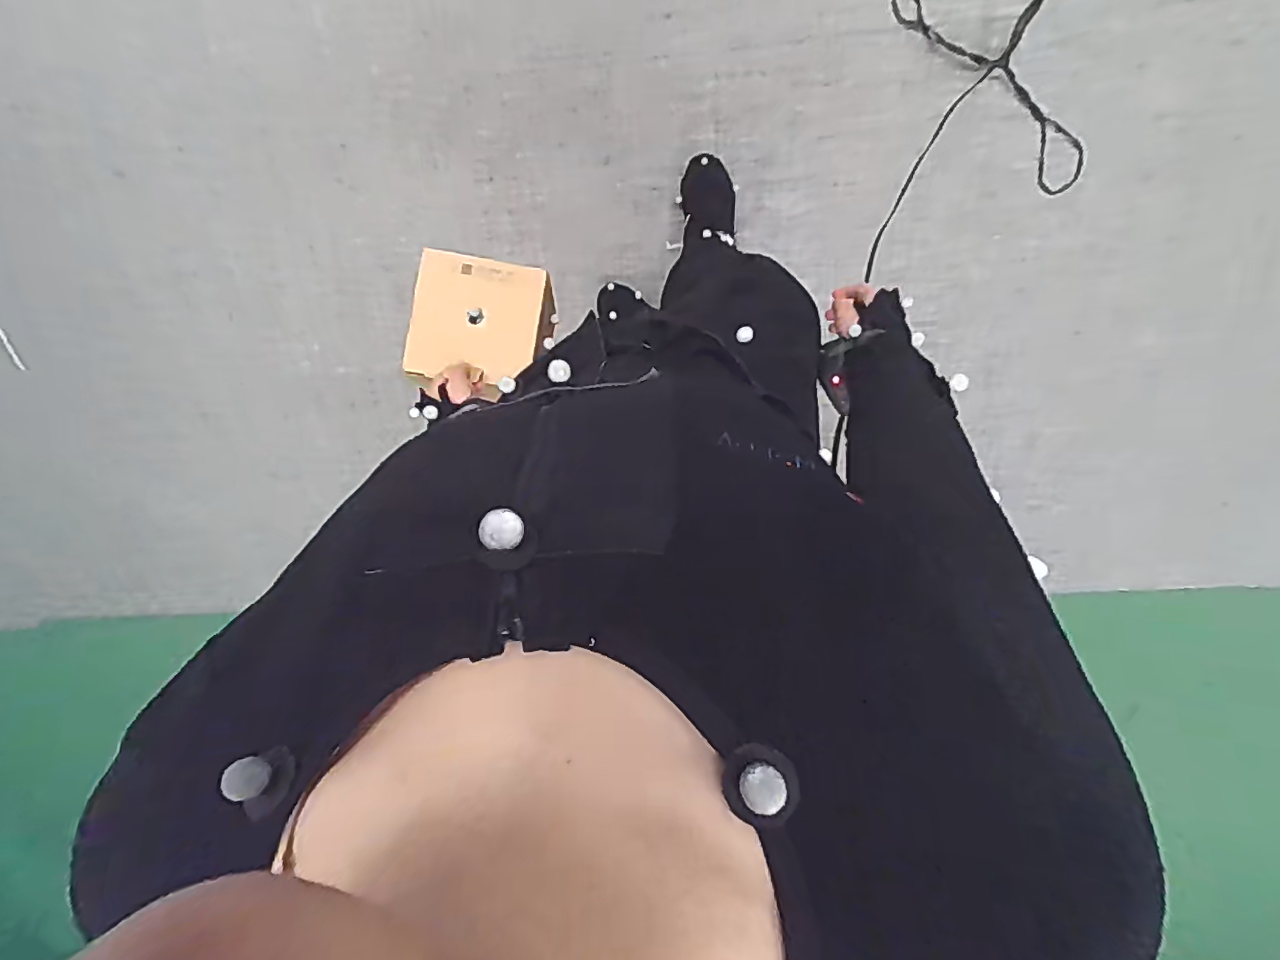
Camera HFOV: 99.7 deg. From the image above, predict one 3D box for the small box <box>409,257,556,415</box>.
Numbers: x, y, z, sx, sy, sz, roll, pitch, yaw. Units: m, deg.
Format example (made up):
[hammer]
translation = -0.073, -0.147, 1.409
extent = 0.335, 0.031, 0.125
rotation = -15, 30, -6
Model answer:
[small box]
translation = -0.220, -0.204, 0.794
extent = 0.168, 0.179, 0.176
rotation = 9, 86, -5
